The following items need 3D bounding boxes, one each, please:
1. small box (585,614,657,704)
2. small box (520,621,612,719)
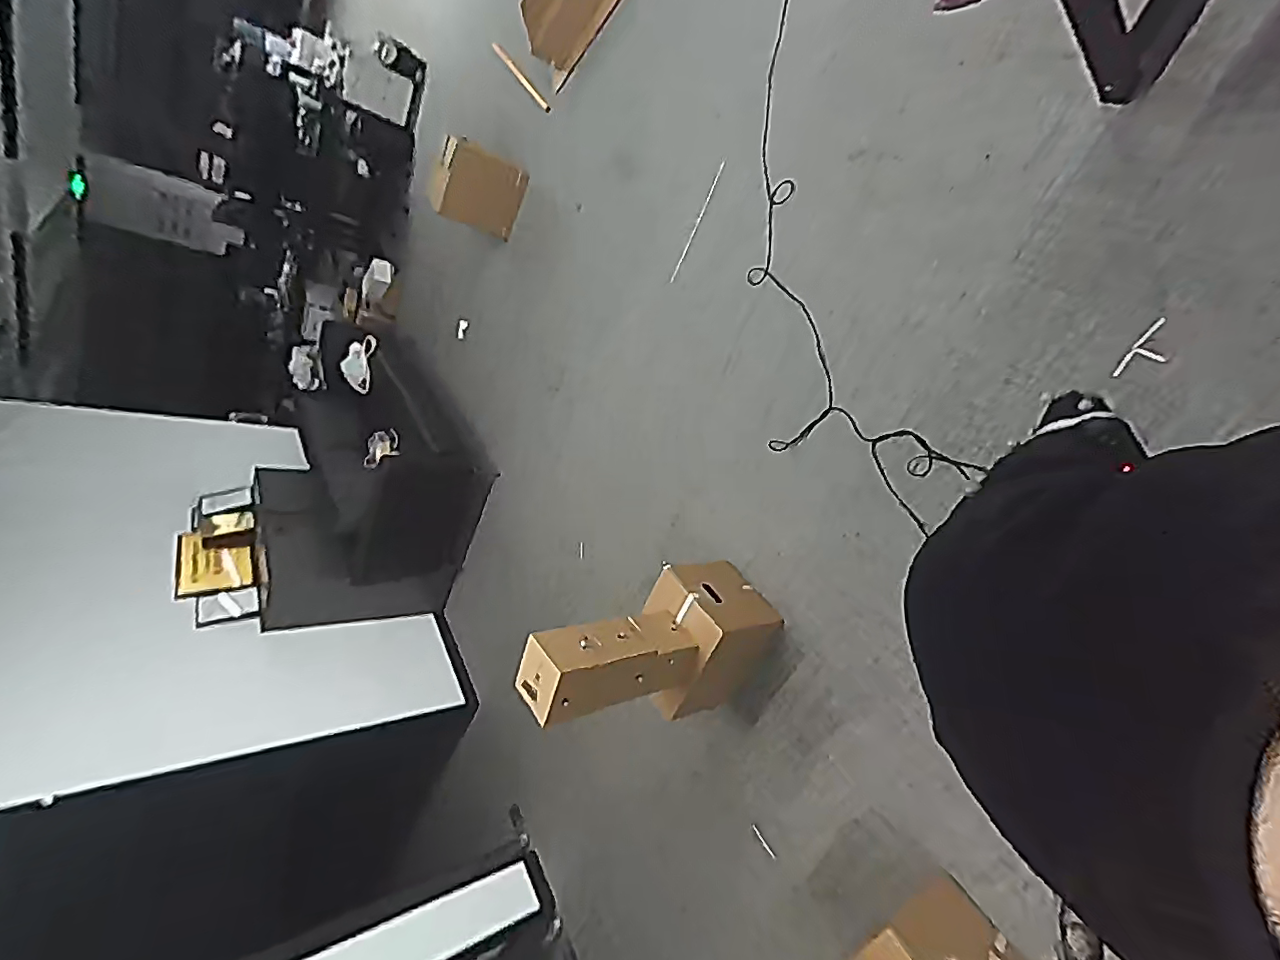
[{"bbox_3d":[-0.075,0.513,1.578,0.168,0.176,0.179,36,114,43],"label":"small box"},{"bbox_3d":[-0.198,0.508,1.468,0.168,0.176,0.179,35,113,43],"label":"small box"}]
